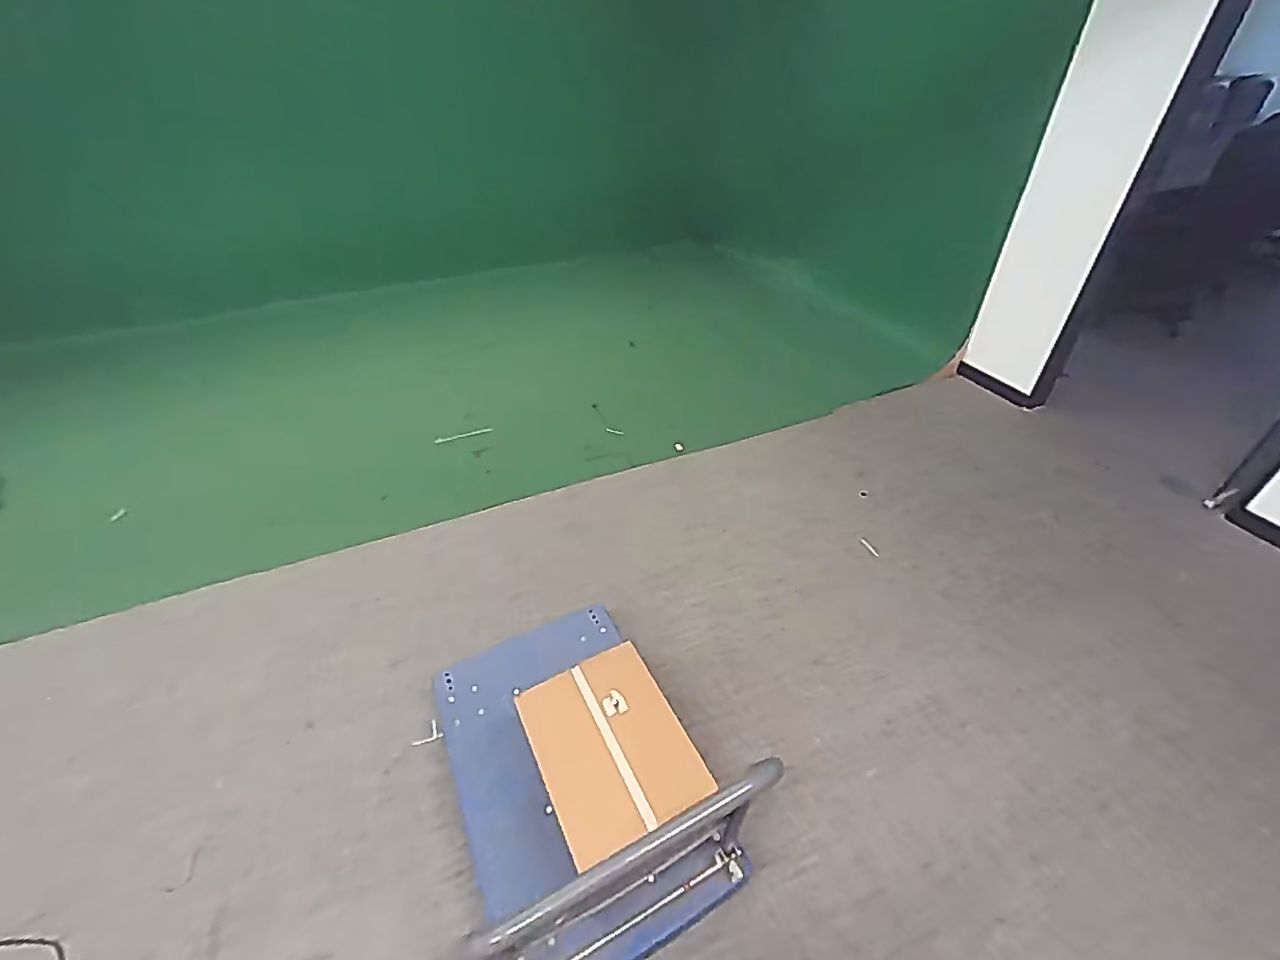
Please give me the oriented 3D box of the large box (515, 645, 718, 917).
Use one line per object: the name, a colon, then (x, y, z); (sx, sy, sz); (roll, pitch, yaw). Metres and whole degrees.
large box: (-0.057, 0.688, 1.271); (0.320, 0.320, 0.408); (-20, 42, -20)
